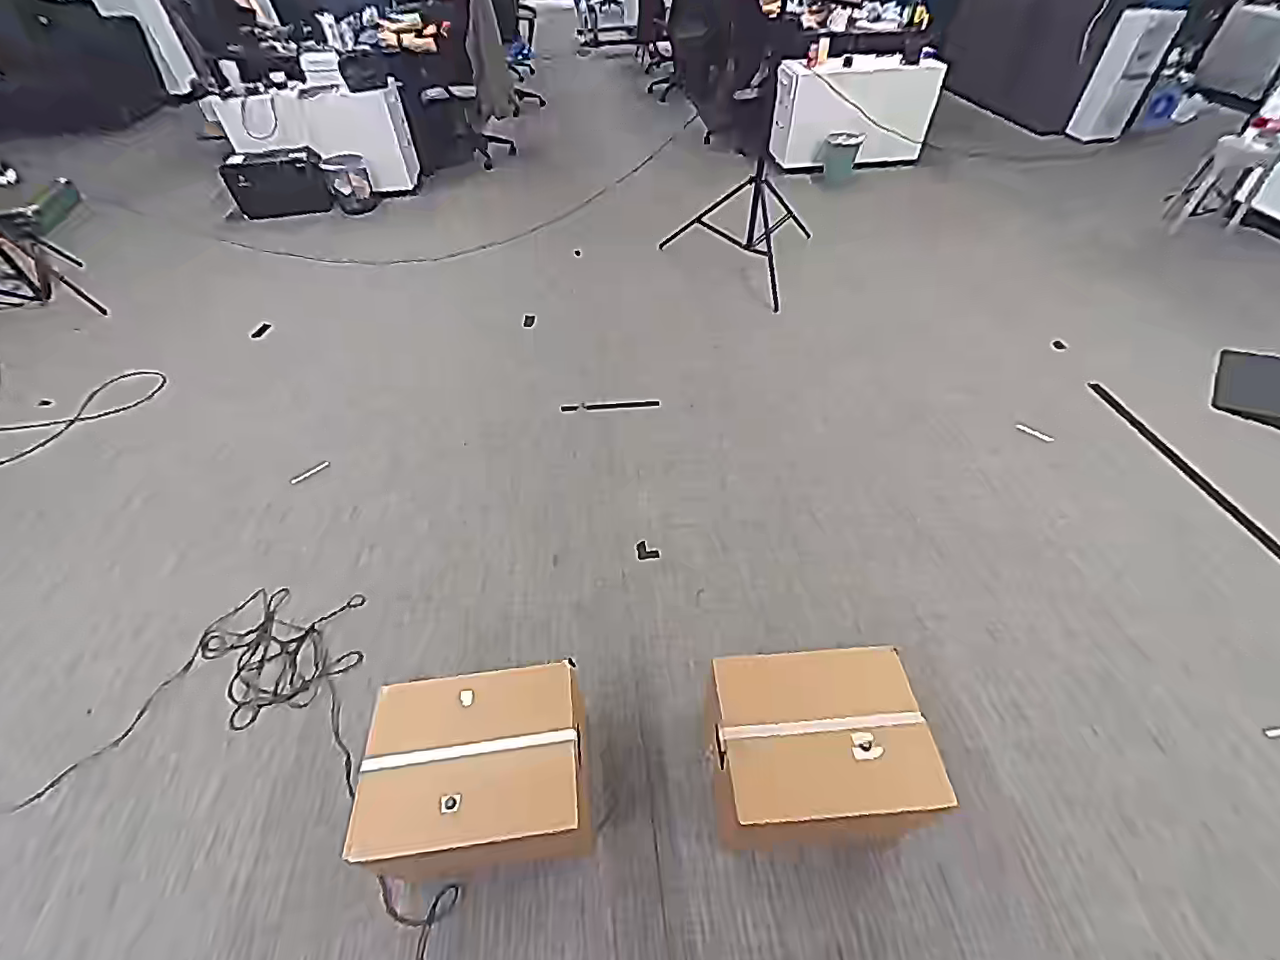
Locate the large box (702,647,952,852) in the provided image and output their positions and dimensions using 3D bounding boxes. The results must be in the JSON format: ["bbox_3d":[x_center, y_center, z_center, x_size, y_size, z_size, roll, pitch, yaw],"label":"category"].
[{"bbox_3d":[0.367,0.594,1.190,0.408,0.320,0.320,-3,48,-2],"label":"large box"}]
